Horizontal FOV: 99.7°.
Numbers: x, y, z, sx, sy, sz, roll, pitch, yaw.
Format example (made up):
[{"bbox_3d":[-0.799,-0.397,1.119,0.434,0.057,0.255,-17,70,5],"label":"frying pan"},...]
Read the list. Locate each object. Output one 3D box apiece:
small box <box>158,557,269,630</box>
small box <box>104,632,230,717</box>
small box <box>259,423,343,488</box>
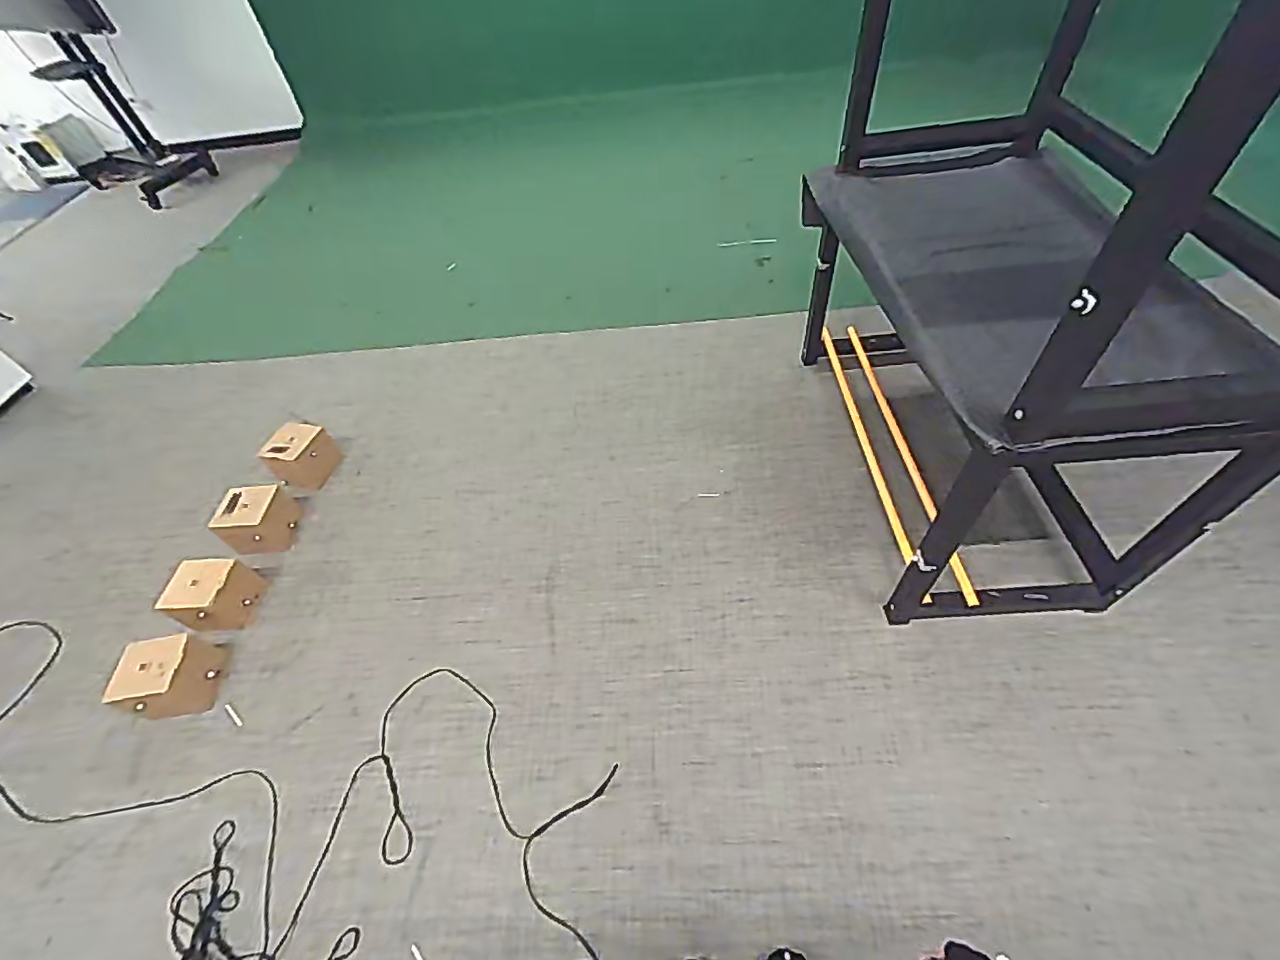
[{"bbox_3d":[-1.314,0.356,1.680,0.179,0.176,0.168,-3,51,4],"label":"small box"},{"bbox_3d":[-1.315,0.550,1.519,0.179,0.176,0.168,-10,52,-1],"label":"small box"},{"bbox_3d":[-1.265,-0.089,2.034,0.168,0.176,0.179,8,51,13],"label":"small box"}]
